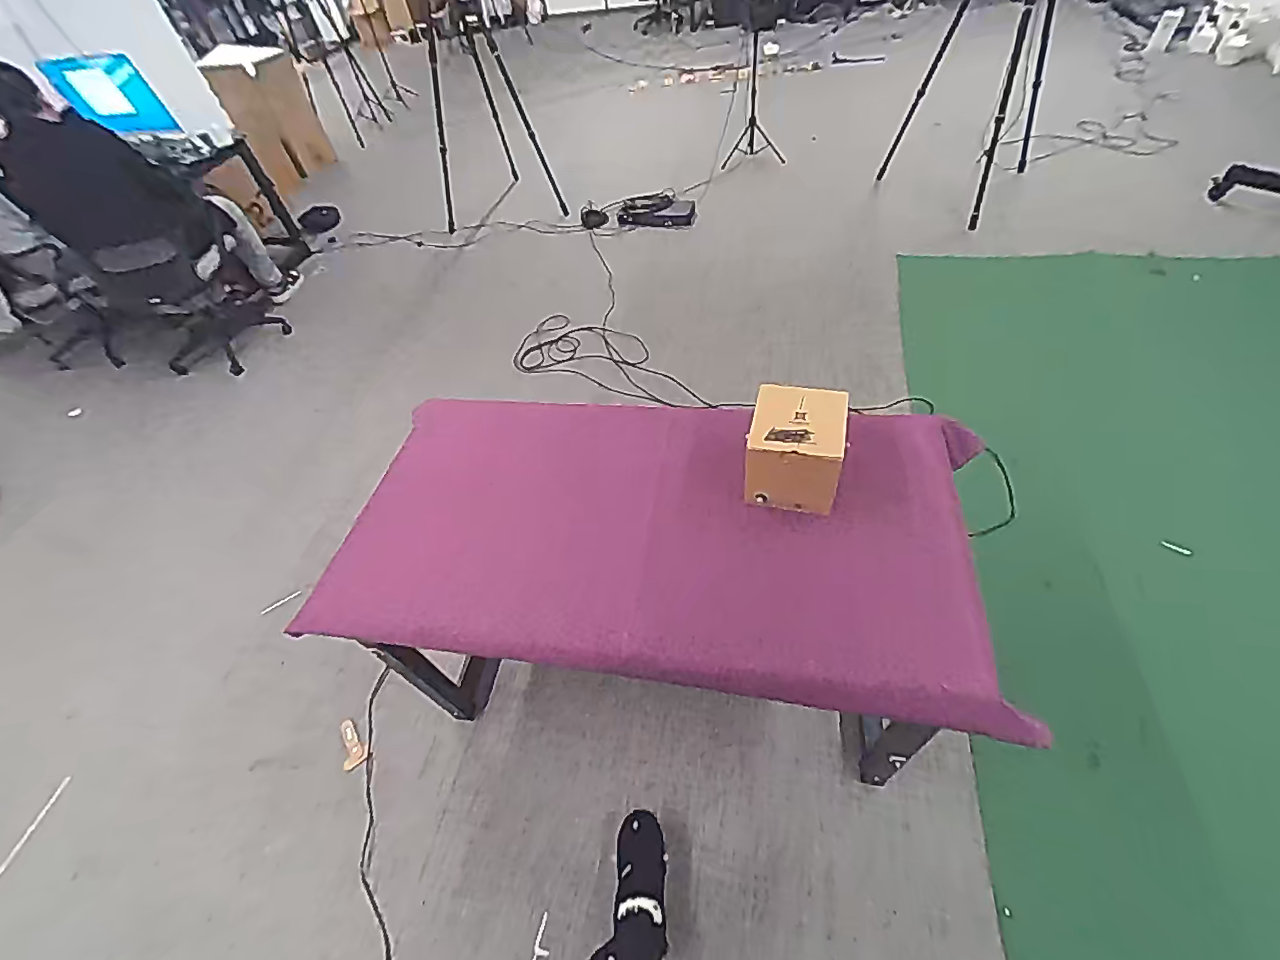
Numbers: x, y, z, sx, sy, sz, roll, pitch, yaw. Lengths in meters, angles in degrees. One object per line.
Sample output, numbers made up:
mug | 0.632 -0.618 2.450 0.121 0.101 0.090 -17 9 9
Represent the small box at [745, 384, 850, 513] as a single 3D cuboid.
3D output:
small box | 0.299 -0.059 1.039 0.168 0.176 0.179 9 52 16
